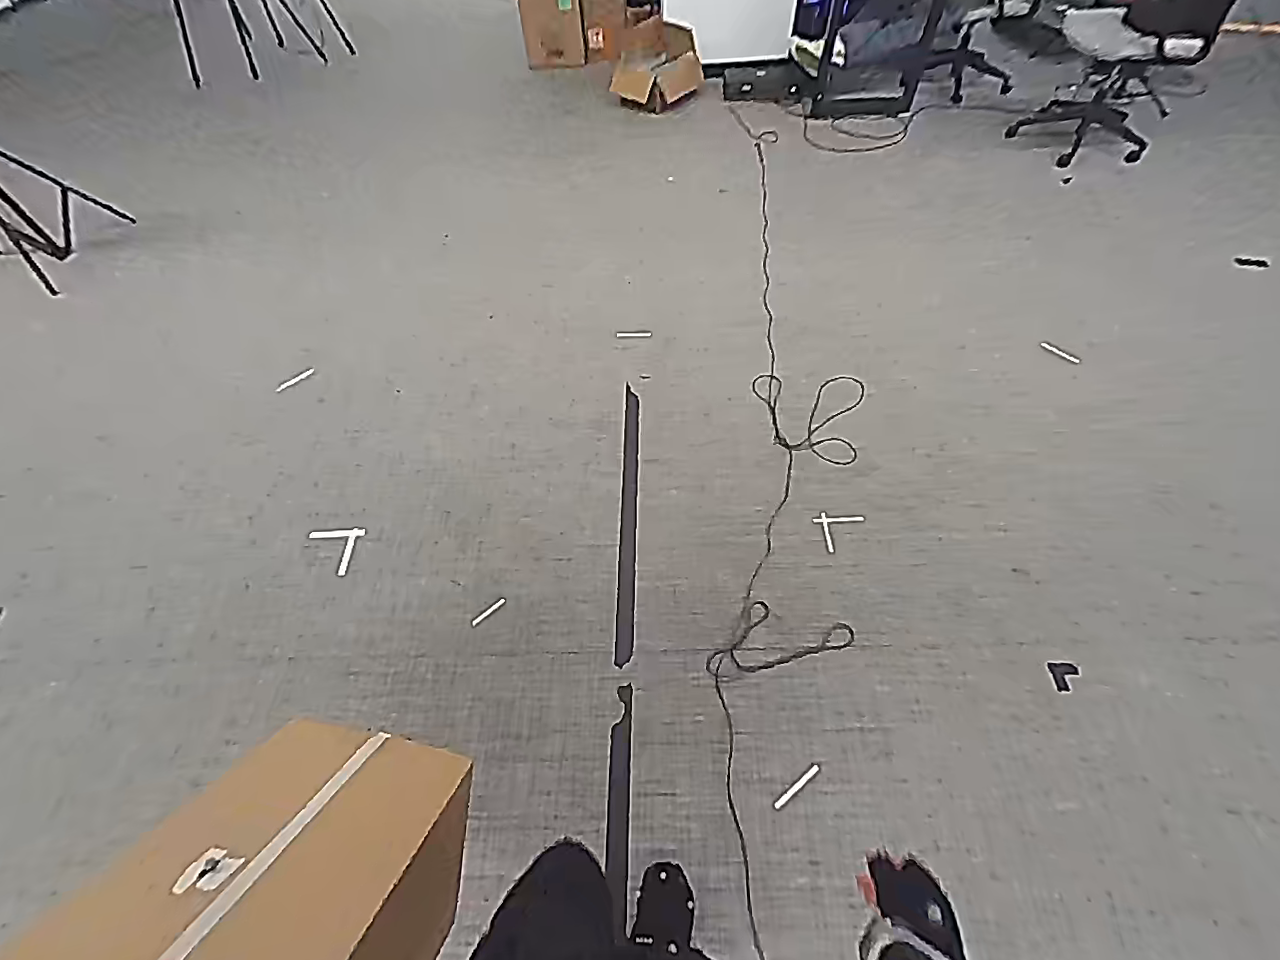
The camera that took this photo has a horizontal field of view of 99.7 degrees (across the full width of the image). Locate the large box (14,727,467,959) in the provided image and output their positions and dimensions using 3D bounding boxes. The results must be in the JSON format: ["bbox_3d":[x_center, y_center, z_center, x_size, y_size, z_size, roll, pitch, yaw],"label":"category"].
[{"bbox_3d":[-0.471,0.615,0.721,0.320,0.408,0.320,9,100,6],"label":"large box"}]
